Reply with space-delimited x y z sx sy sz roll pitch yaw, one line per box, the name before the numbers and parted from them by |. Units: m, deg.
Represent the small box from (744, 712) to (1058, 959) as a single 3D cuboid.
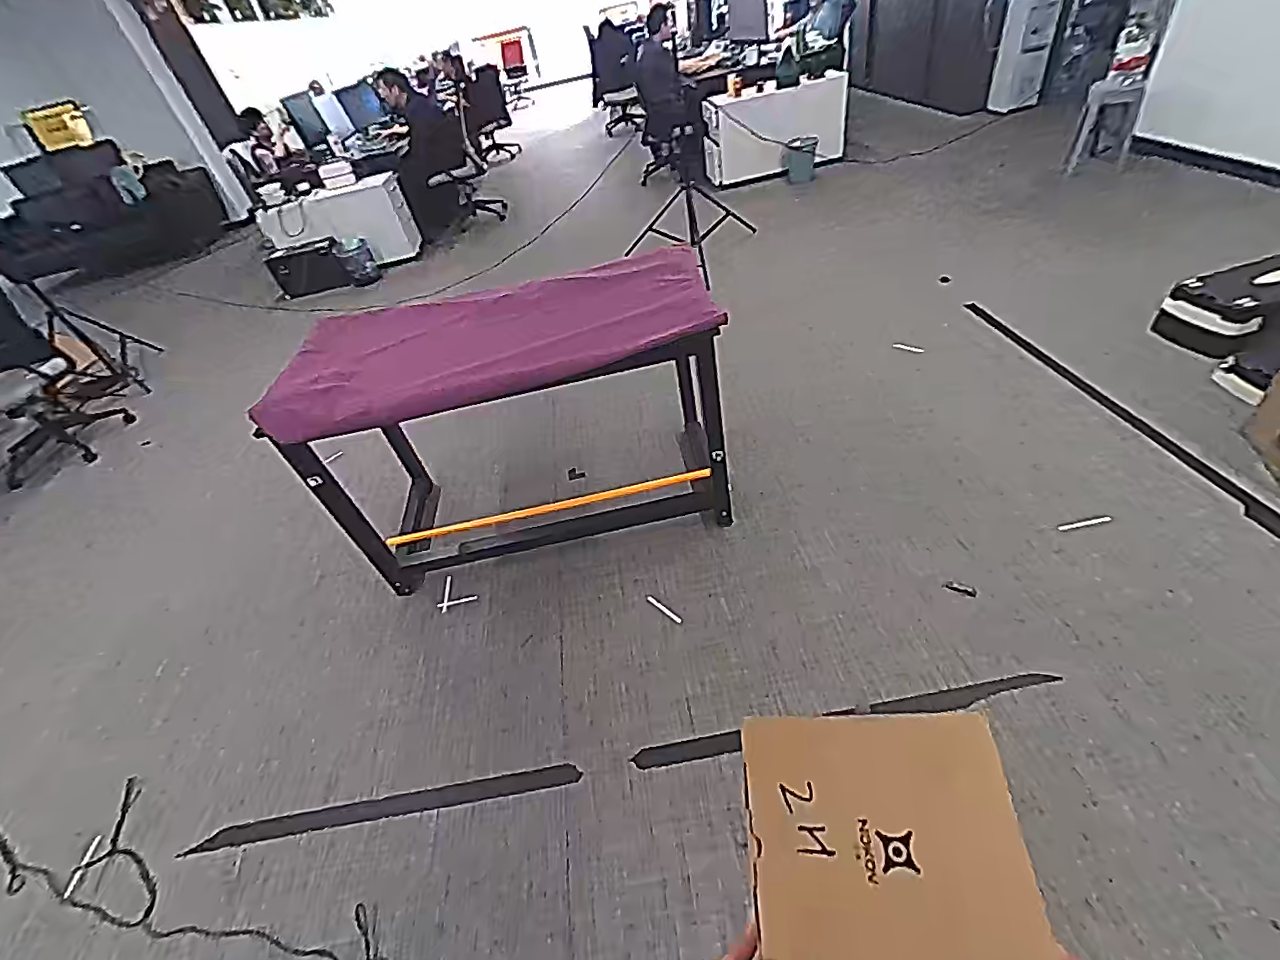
small box | 0.178 0.283 0.429 0.179 0.176 0.168 -6 58 10
